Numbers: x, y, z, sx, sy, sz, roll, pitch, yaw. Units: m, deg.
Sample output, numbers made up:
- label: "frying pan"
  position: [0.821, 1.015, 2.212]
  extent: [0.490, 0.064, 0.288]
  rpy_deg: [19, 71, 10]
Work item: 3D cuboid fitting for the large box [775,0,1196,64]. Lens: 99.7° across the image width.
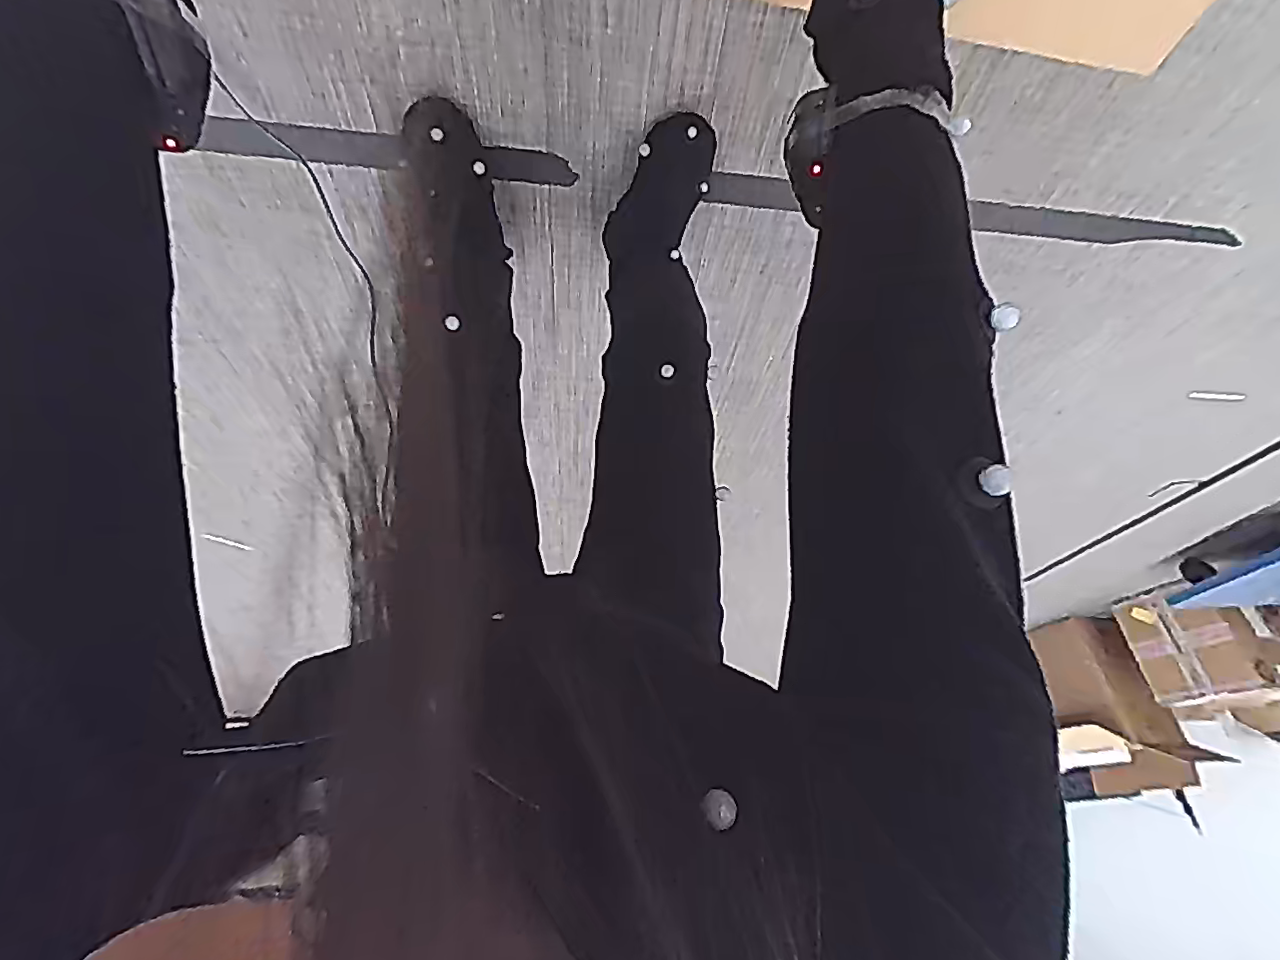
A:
- label: "large box"
  position: [0.271, -0.587, 0.412]
  extent: [0.408, 0.320, 0.320]
  rpy_deg: [3, 147, -10]
